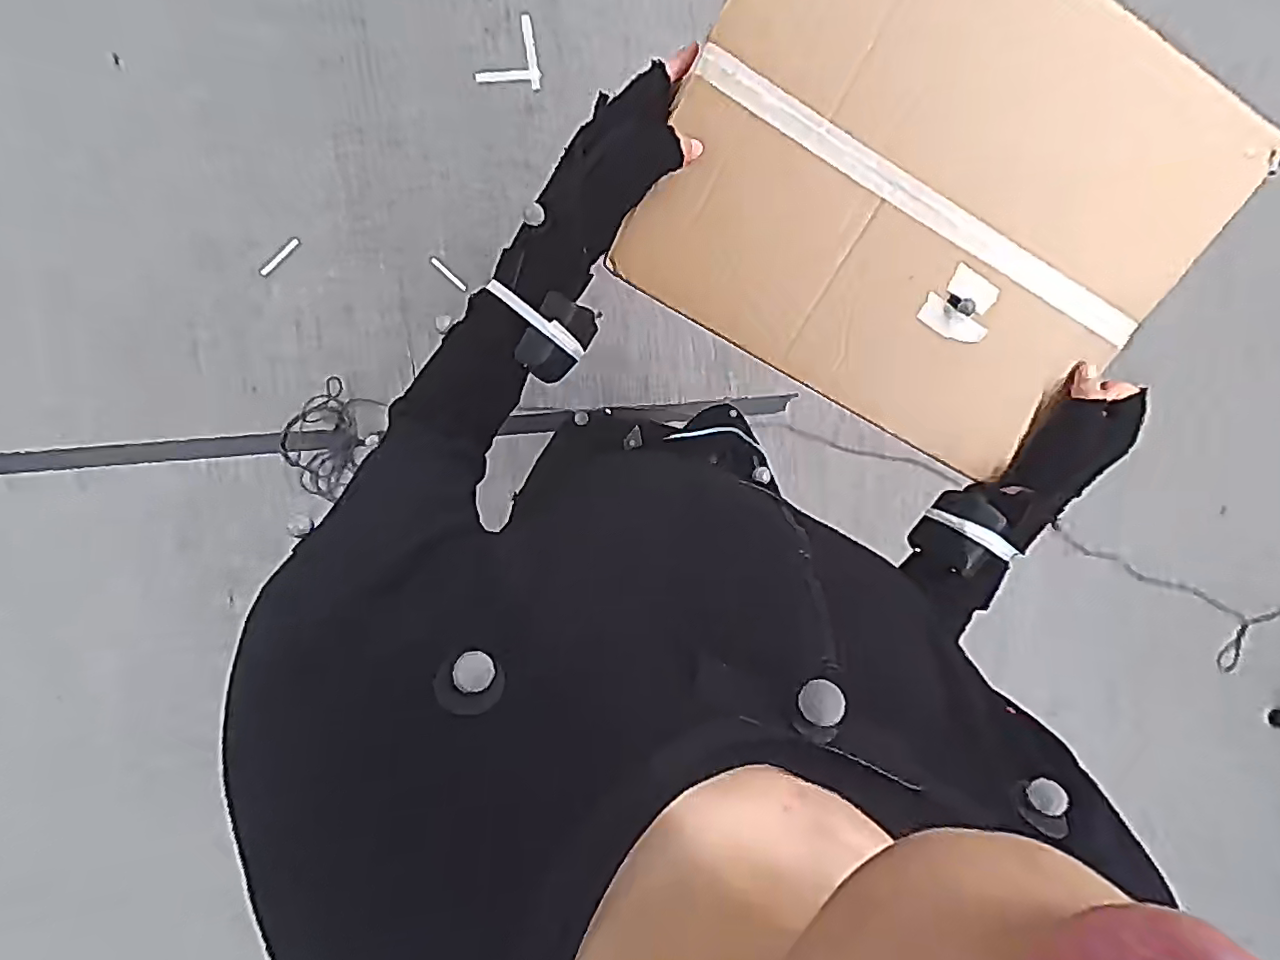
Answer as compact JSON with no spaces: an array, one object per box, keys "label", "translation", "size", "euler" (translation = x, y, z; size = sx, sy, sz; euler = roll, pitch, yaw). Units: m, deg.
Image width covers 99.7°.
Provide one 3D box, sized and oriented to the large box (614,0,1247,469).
[{"label":"large box","translation":[0.219,-0.273,0.566],"size":[0.408,0.320,0.320],"euler":[27,111,-10]}]
